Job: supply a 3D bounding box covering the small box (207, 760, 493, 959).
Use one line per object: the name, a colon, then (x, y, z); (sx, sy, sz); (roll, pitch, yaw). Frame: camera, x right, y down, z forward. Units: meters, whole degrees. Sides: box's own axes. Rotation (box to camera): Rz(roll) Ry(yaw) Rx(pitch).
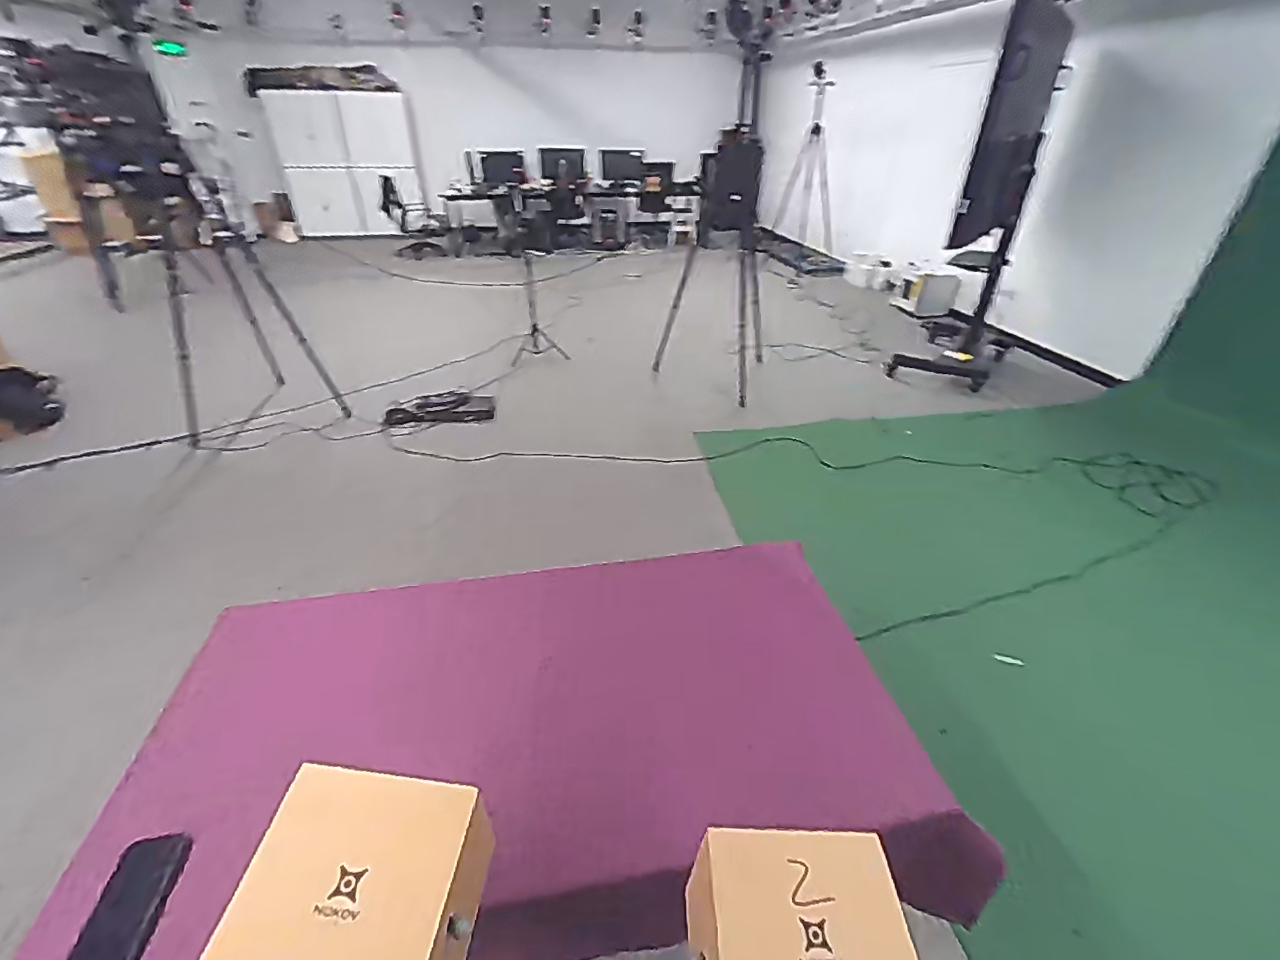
small box: (-0.238, 0.385, 0.487); (0.168, 0.176, 0.179); (10, 44, 1)
